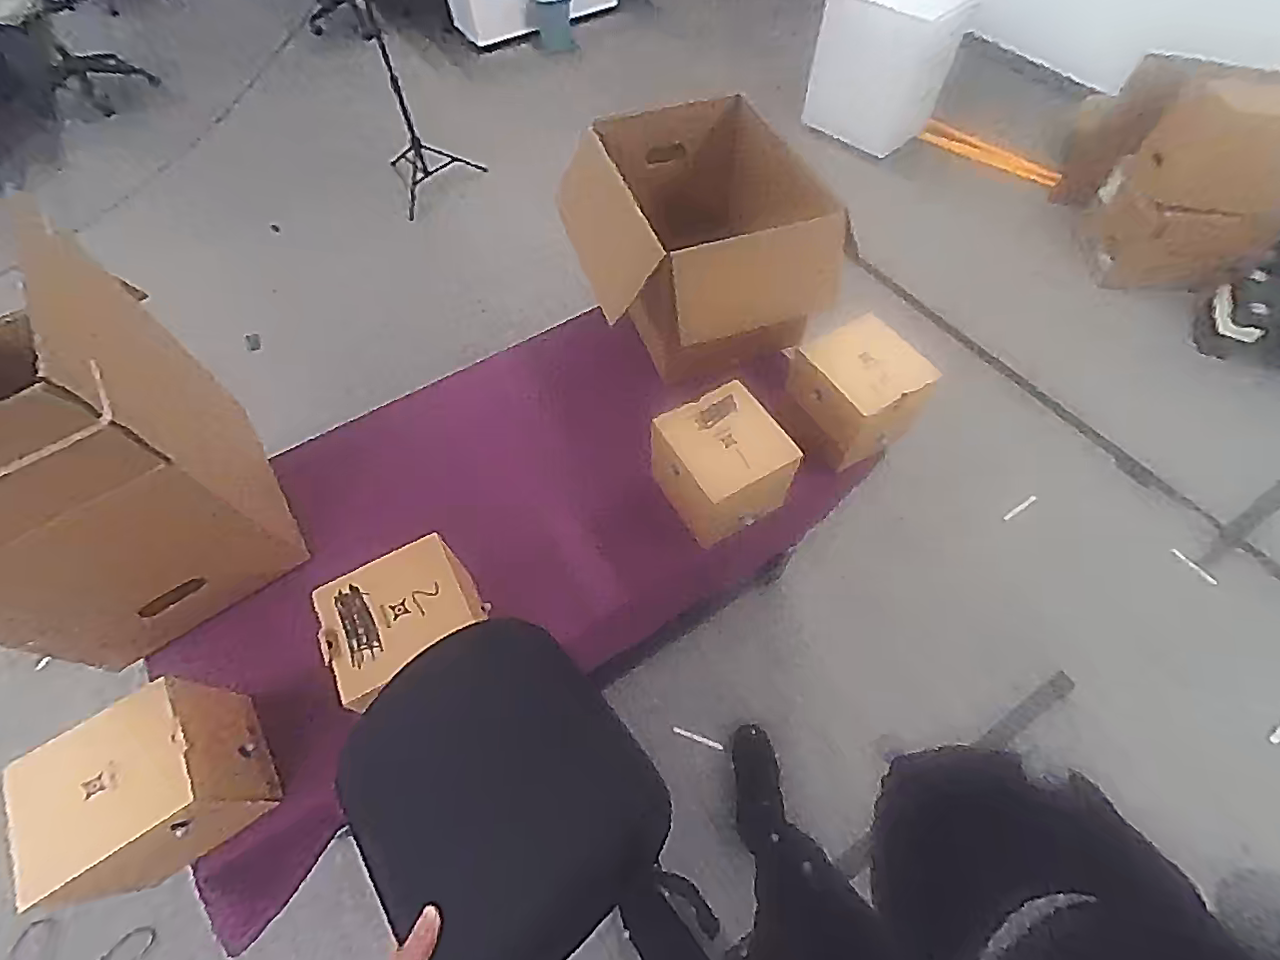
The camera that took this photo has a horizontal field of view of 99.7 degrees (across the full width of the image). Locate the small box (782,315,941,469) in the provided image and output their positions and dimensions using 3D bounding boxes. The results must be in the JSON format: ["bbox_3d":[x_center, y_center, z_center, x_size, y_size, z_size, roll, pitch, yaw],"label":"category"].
[{"bbox_3d":[0.376,-0.152,0.958,0.168,0.176,0.179,-27,62,-13],"label":"small box"}]

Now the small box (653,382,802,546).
[{"bbox_3d":[0.132,-0.021,0.892,0.168,0.176,0.179,-28,63,-13],"label":"small box"}]

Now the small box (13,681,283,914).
[{"bbox_3d":[-0.599,0.388,0.676,0.179,0.176,0.168,-32,64,-17],"label":"small box"}]
